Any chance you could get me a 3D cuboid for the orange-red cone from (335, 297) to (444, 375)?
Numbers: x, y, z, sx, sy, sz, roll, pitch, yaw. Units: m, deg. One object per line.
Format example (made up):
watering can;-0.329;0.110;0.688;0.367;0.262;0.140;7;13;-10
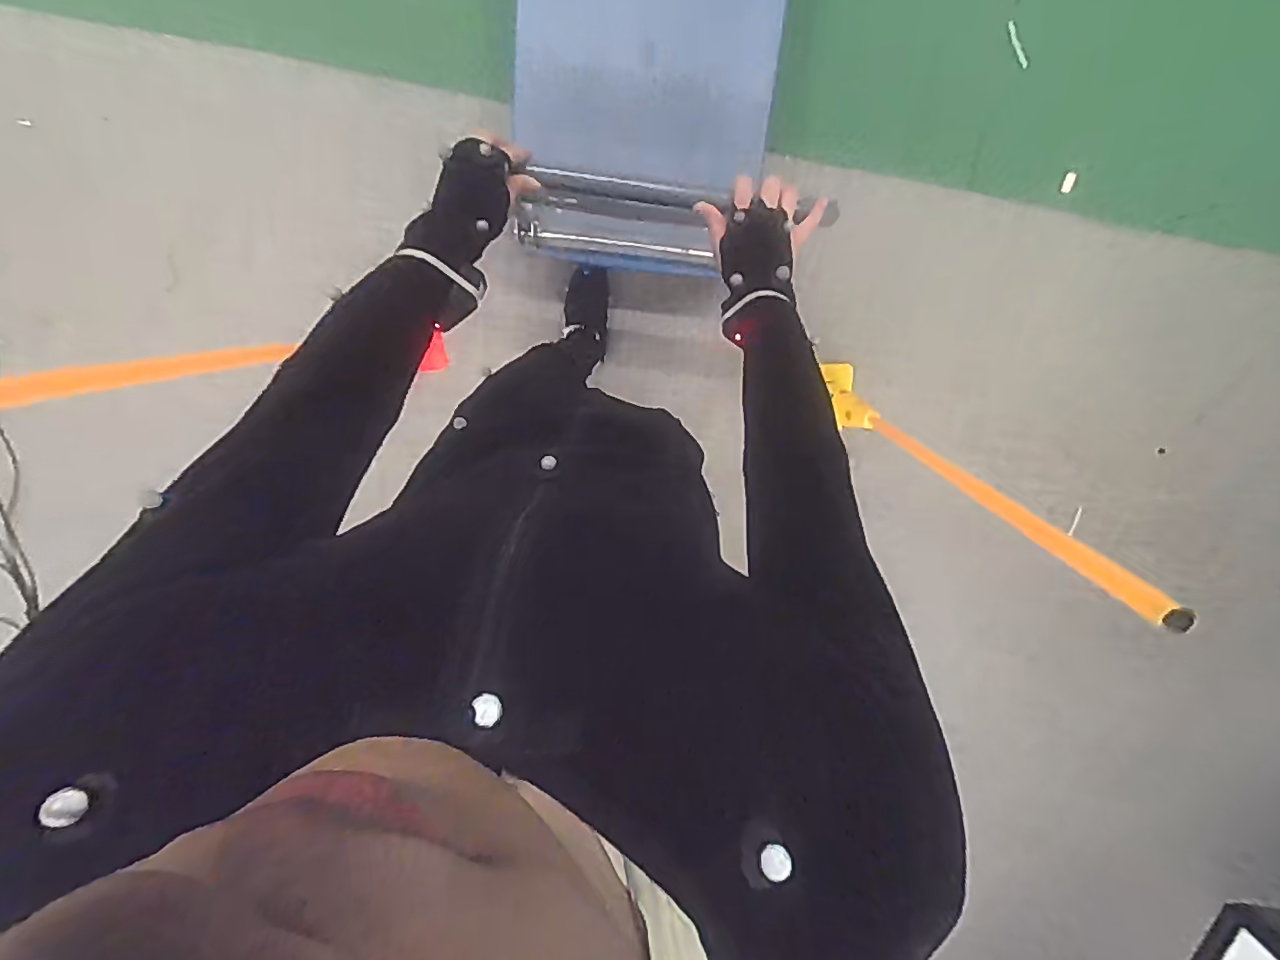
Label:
orange-red cone;-0.638;-0.342;1.311;0.199;0.360;0.198;-6;107;0
